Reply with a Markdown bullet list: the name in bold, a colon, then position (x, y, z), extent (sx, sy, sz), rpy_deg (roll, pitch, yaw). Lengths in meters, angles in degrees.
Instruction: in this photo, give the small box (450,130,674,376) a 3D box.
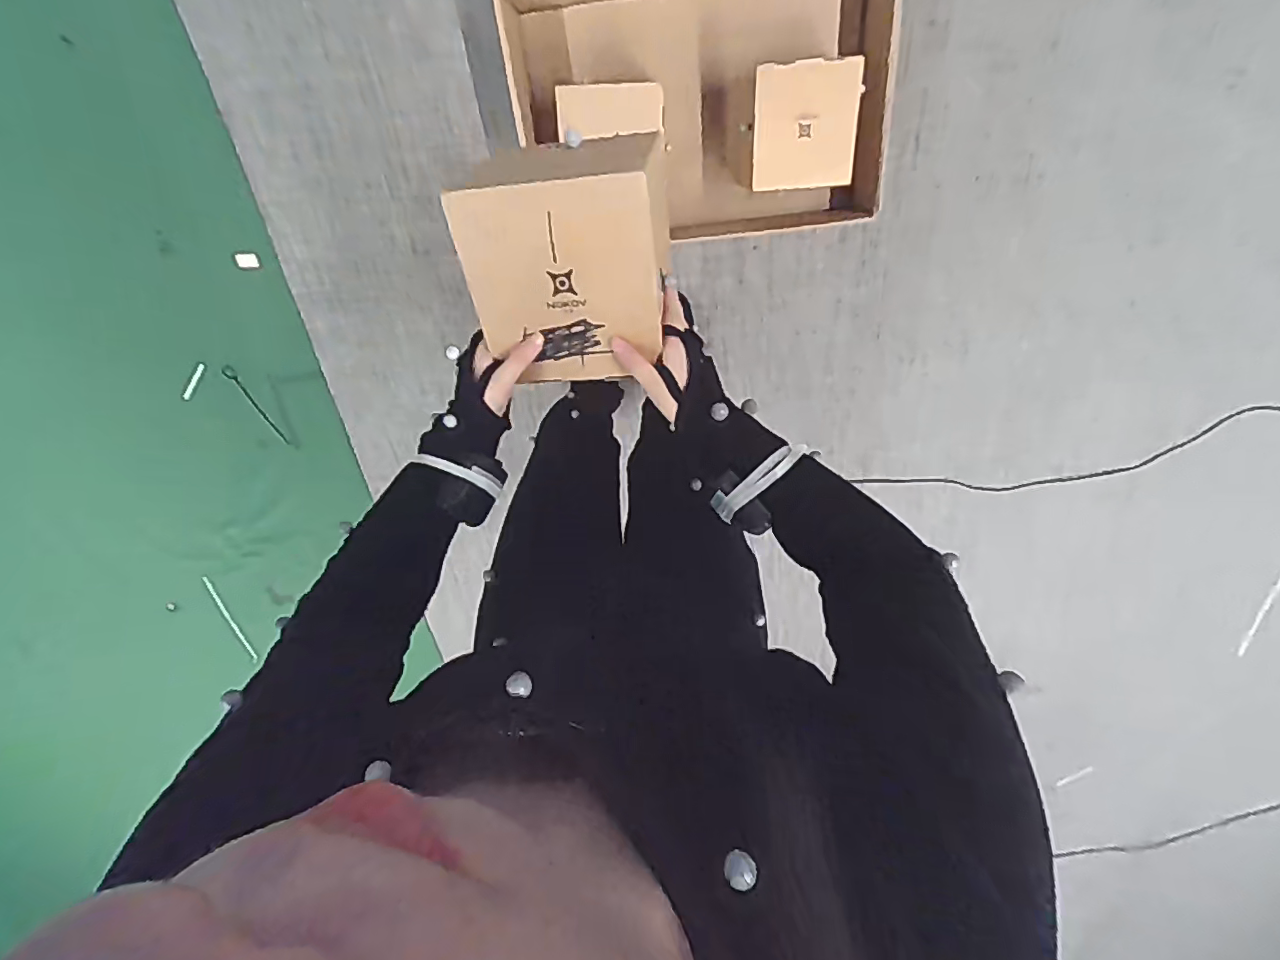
- **small box**: position (-0.055, -0.222, 0.533), extent (0.168, 0.176, 0.179), rpy_deg (-1, 131, 8)
